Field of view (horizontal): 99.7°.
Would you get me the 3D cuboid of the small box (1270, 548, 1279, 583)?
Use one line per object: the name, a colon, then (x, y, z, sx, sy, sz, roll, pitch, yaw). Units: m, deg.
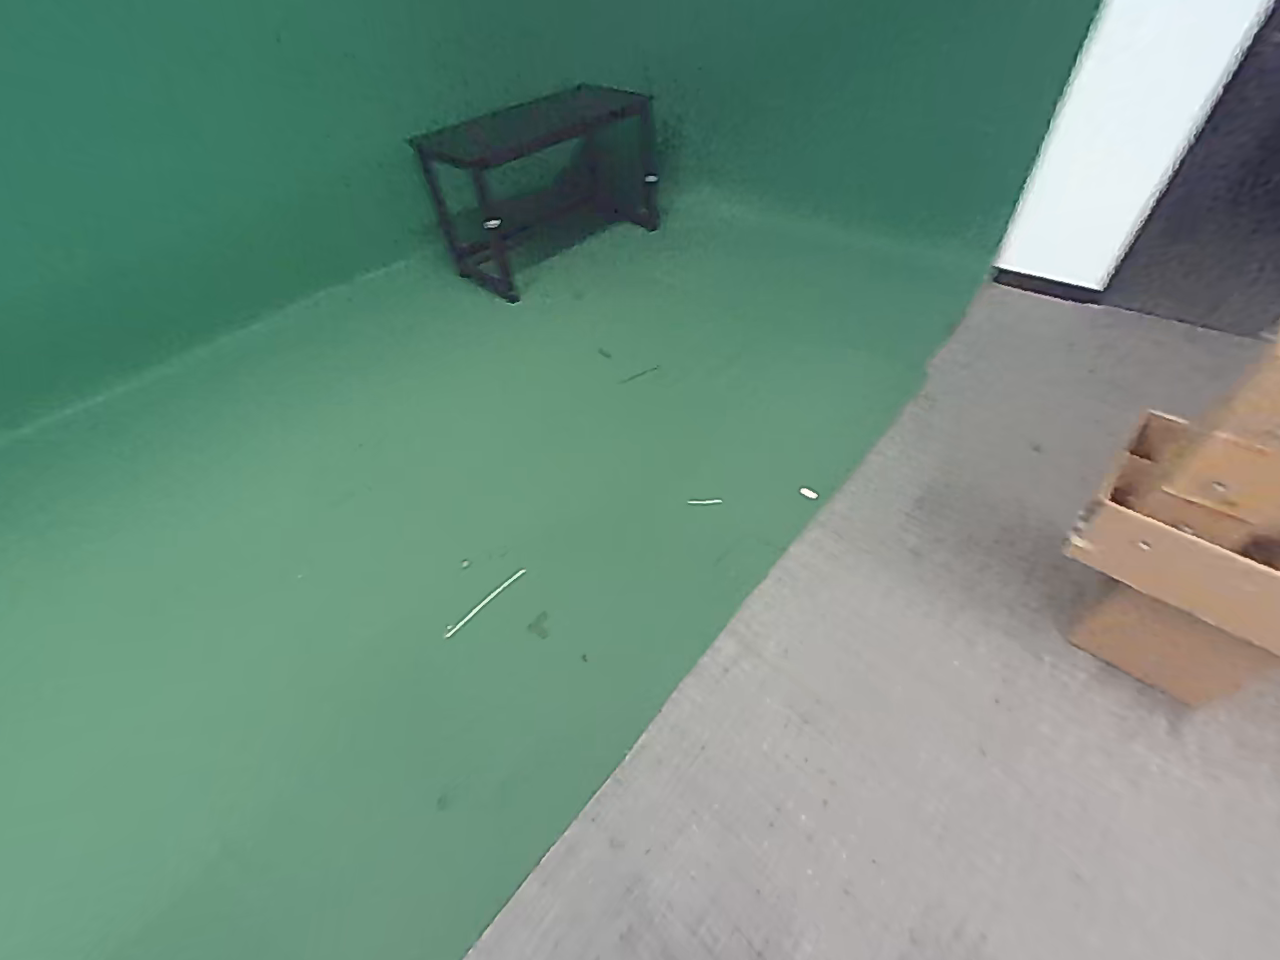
small box: (1.421, 0.155, 1.066, 0.179, 0.176, 0.168, -37, 54, -25)

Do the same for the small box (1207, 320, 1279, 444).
small box: (1.180, -0.171, 0.953, 0.179, 0.176, 0.168, 32, 58, 30)
